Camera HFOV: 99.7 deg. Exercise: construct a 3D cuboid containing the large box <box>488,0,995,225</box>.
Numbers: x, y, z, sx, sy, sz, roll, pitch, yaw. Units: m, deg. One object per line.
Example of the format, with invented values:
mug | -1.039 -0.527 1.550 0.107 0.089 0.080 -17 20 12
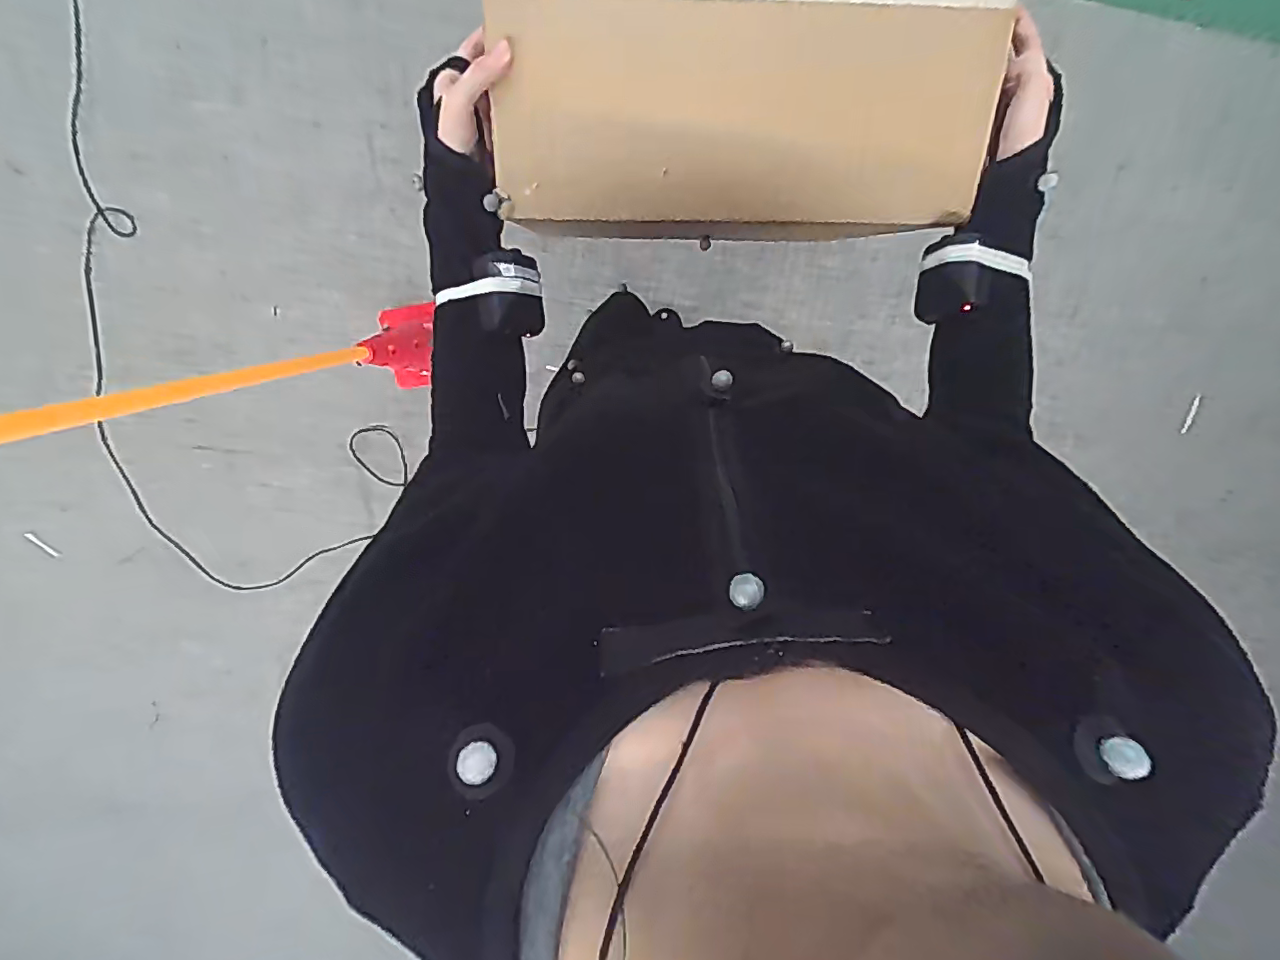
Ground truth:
large box | 0.076 -0.435 0.549 0.408 0.320 0.320 -1 111 -3
